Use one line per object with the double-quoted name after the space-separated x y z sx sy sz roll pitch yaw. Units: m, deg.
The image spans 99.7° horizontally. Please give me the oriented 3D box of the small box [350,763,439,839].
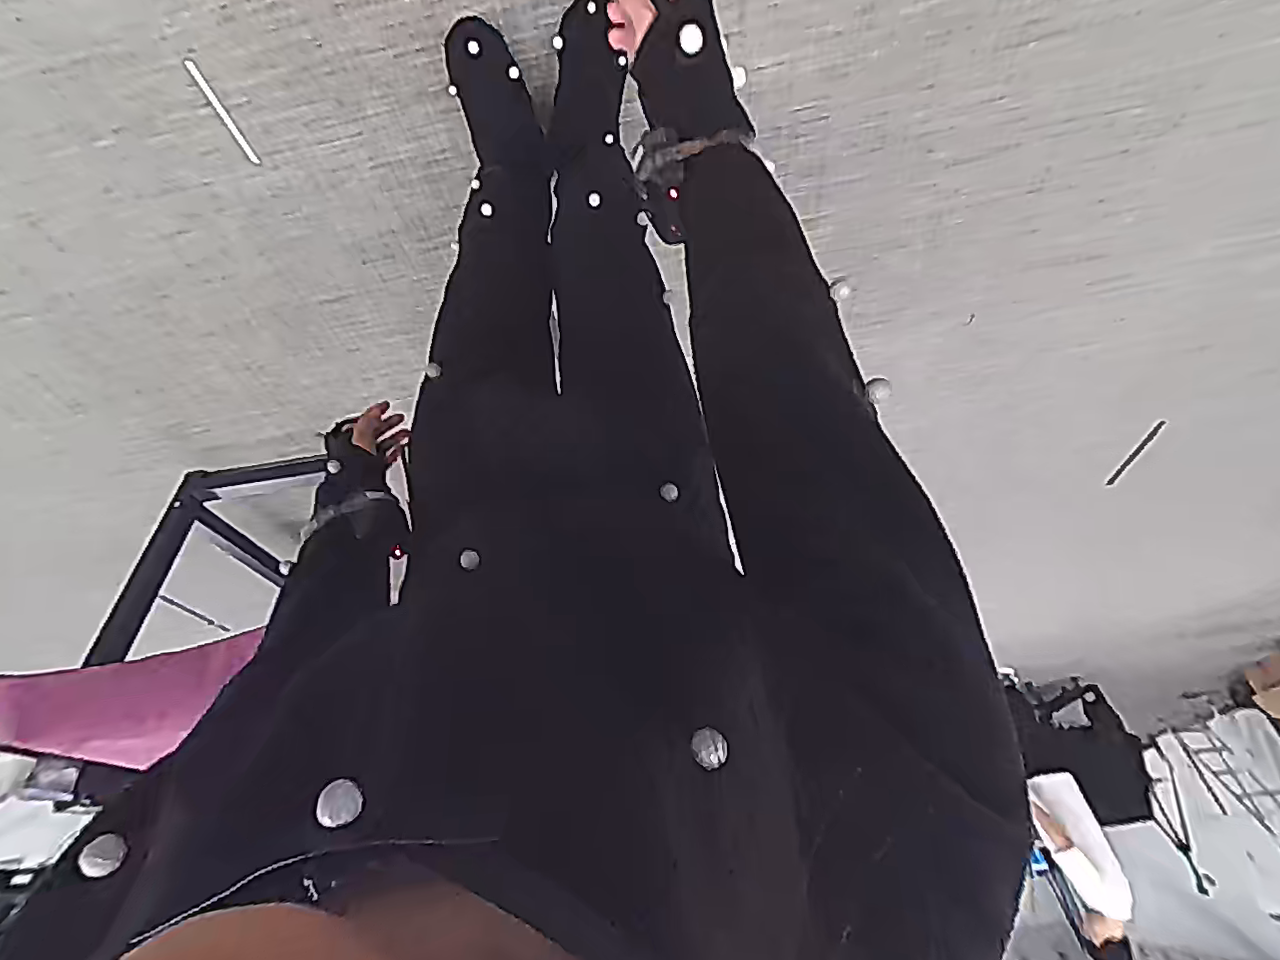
-0.698 0.928 1.565 0.179 0.176 0.168 -10 143 6 "small box"
